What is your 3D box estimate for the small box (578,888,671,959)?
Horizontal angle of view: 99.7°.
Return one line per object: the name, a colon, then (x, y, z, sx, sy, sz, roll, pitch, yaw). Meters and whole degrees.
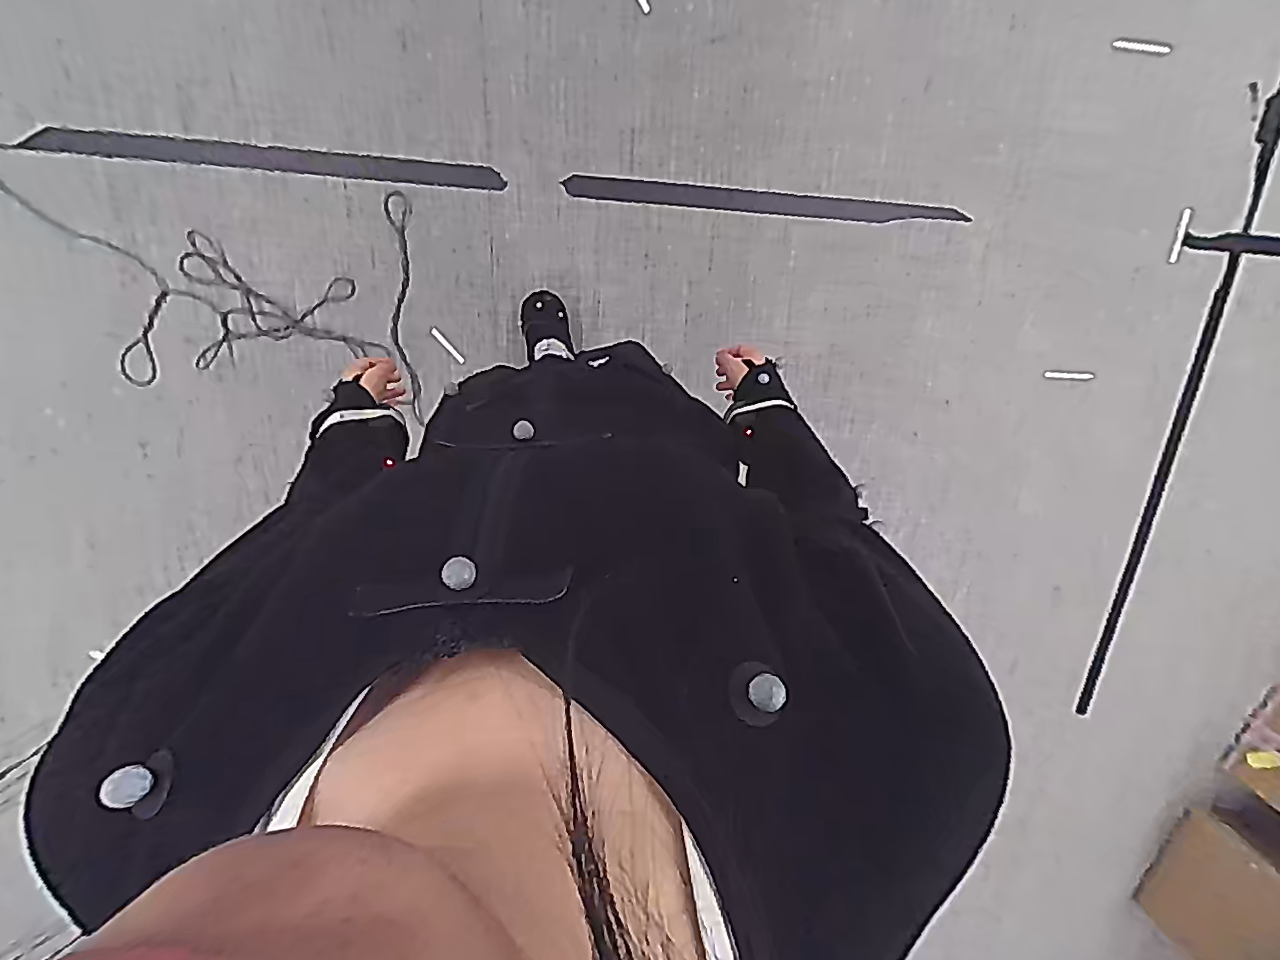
small box: (-0.038, 0.982, 1.116, 0.168, 0.176, 0.179, 5, 107, -8)
